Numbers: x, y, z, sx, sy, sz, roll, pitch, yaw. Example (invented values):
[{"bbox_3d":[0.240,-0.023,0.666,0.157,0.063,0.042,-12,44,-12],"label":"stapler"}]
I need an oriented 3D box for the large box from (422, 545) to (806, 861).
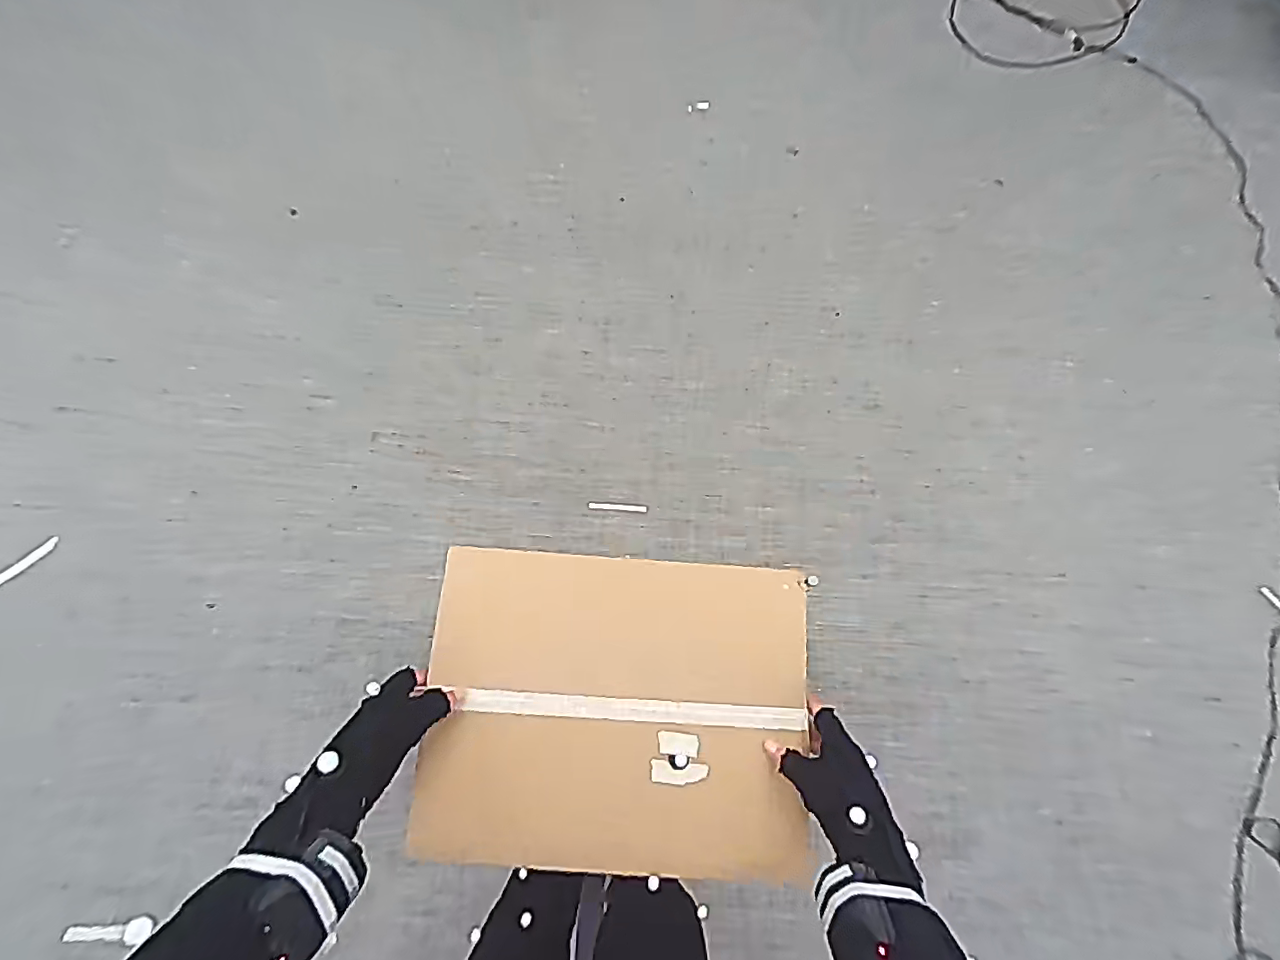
[{"bbox_3d":[-0.026,0.269,0.732,0.408,0.320,0.320,4,77,-2],"label":"large box"}]
